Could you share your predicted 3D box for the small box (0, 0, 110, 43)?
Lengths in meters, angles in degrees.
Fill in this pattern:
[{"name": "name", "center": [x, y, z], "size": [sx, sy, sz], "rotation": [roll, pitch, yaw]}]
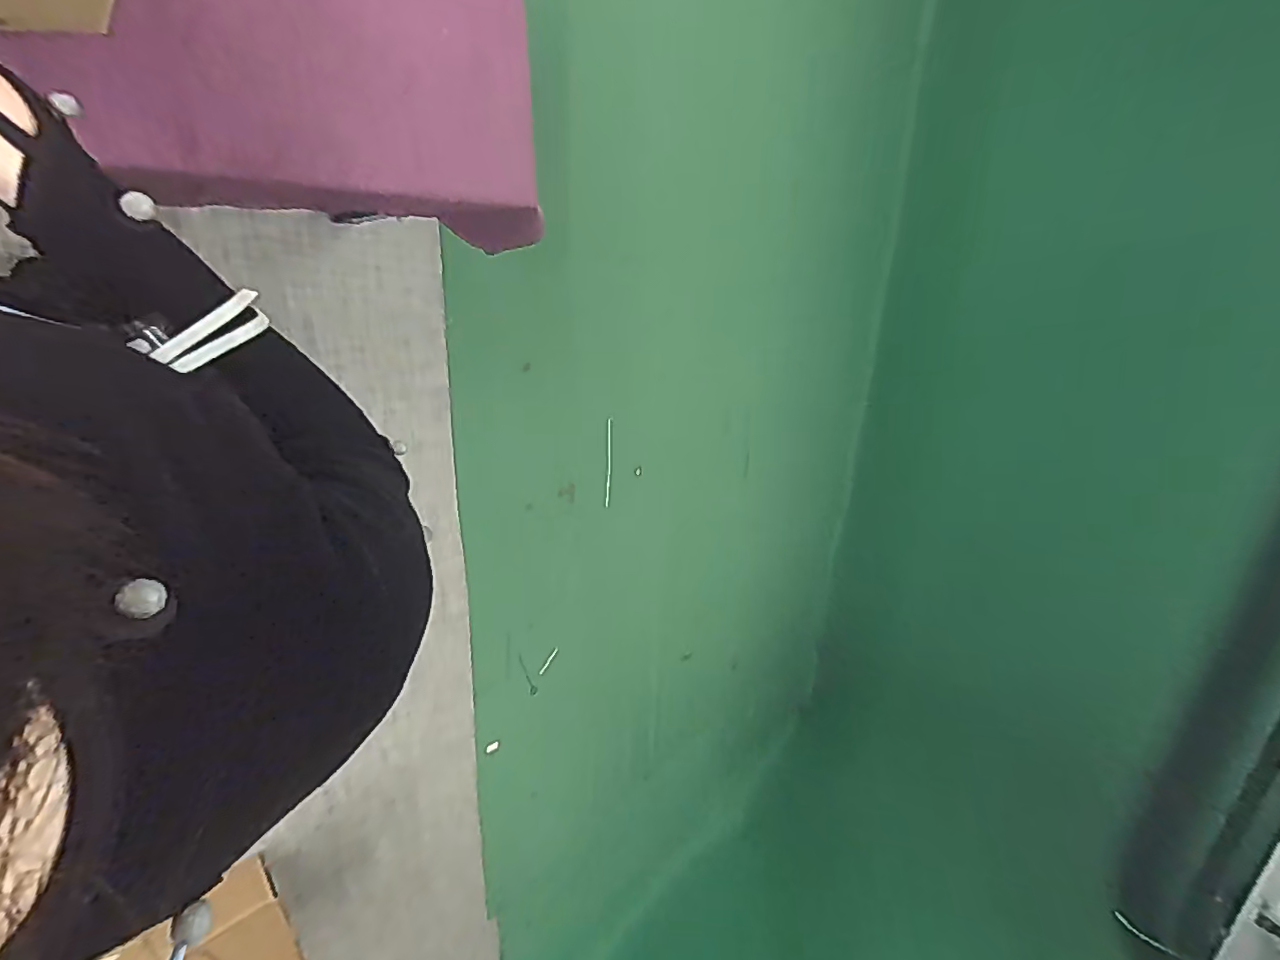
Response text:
[{"name": "small box", "center": [-0.411, -0.347, 0.263], "size": [0.168, 0.176, 0.179], "rotation": [-32, 128, -36]}]
